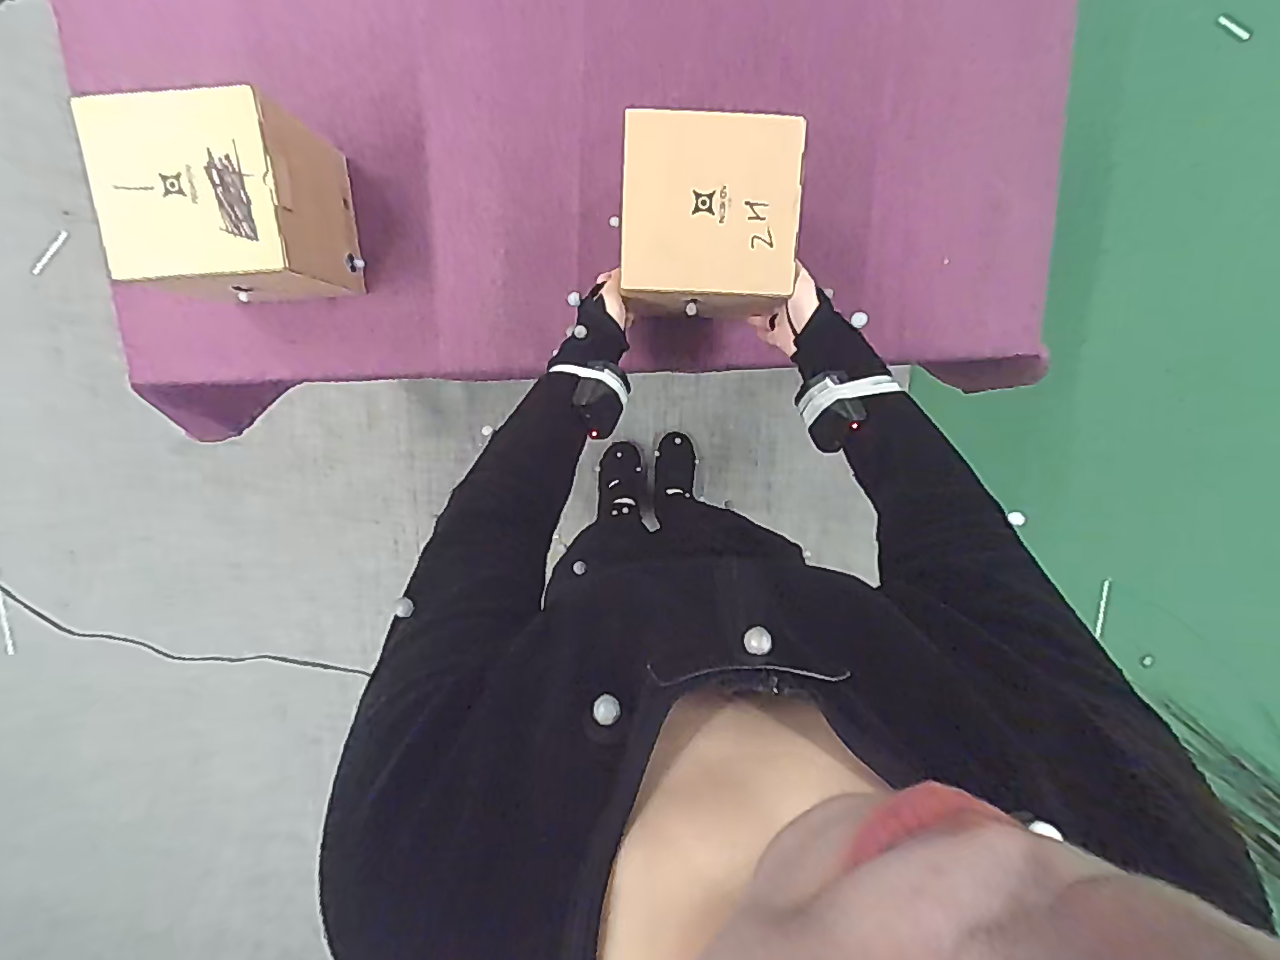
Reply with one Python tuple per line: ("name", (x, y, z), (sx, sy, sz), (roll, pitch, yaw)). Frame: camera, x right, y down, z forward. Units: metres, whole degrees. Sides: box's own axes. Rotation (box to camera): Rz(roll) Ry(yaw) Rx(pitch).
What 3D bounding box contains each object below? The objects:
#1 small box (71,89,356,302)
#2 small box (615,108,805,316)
("small box", (-0.441, -0.296, 0.597), (0.179, 0.176, 0.168), (-4, 101, 1))
("small box", (0.066, -0.279, 0.602), (0.179, 0.176, 0.168), (2, 100, -1))
